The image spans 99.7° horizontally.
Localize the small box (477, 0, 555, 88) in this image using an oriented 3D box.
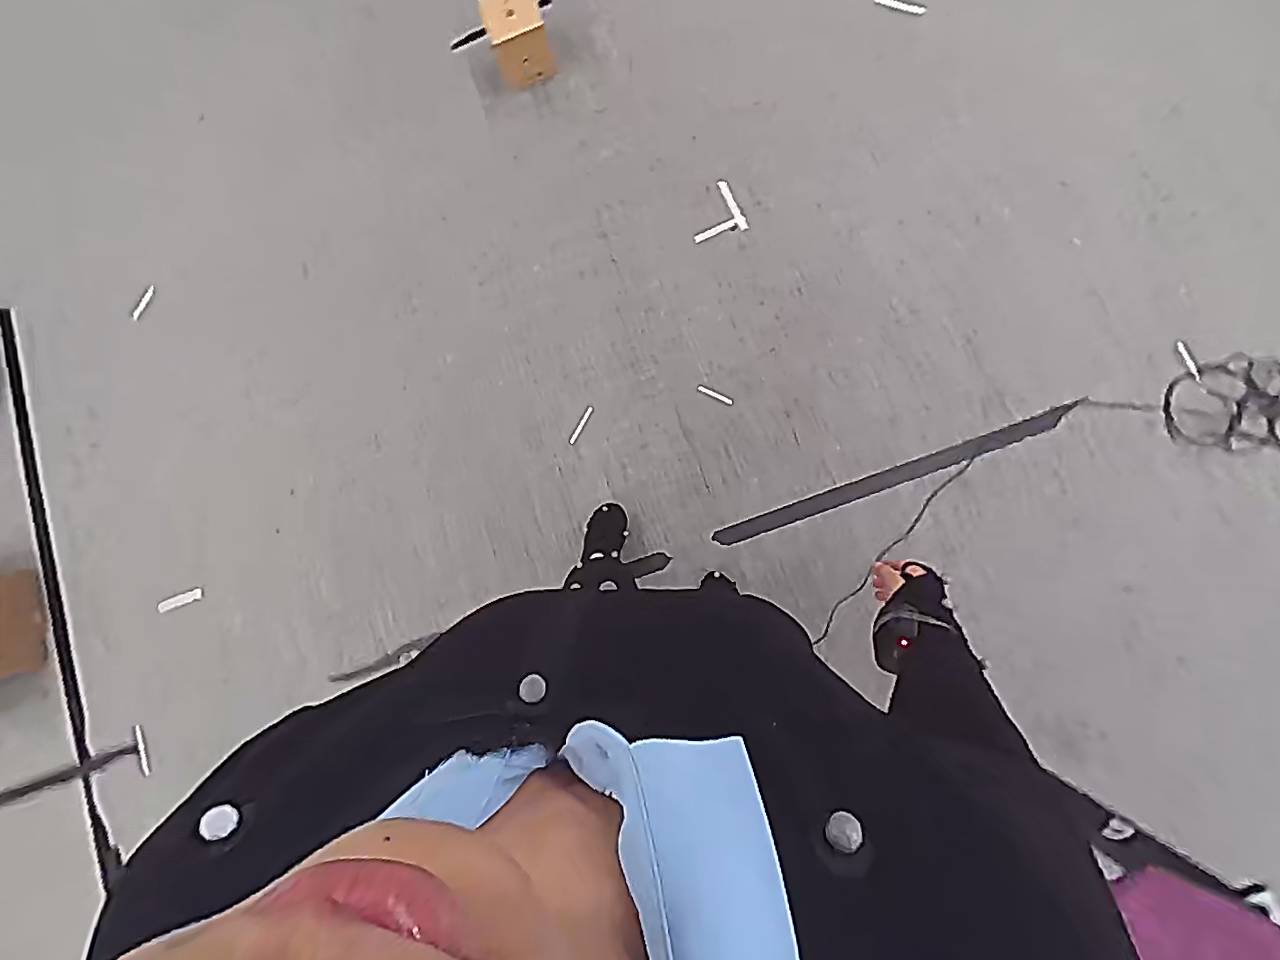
[{"bbox_3d":[-0.379,-1.370,1.682,0.168,0.176,0.179,-19,80,4],"label":"small box"}]
